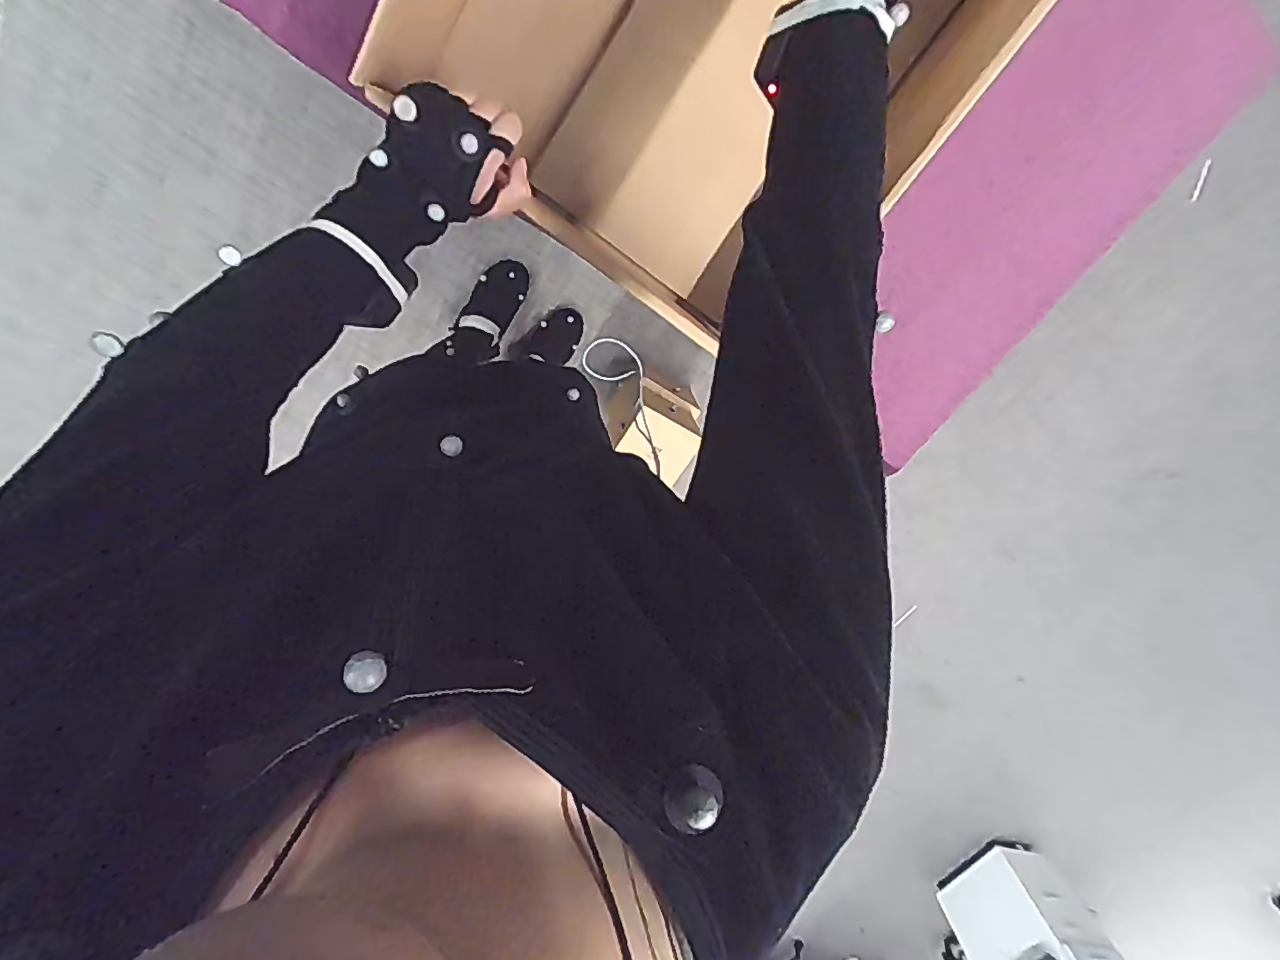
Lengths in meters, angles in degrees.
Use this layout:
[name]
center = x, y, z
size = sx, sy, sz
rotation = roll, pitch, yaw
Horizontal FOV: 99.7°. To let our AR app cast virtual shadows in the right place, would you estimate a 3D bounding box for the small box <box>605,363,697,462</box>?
[small box]
center = 0.023, -0.184, 1.423
size = 0.179, 0.176, 0.168
rotation = 29, 111, -19
